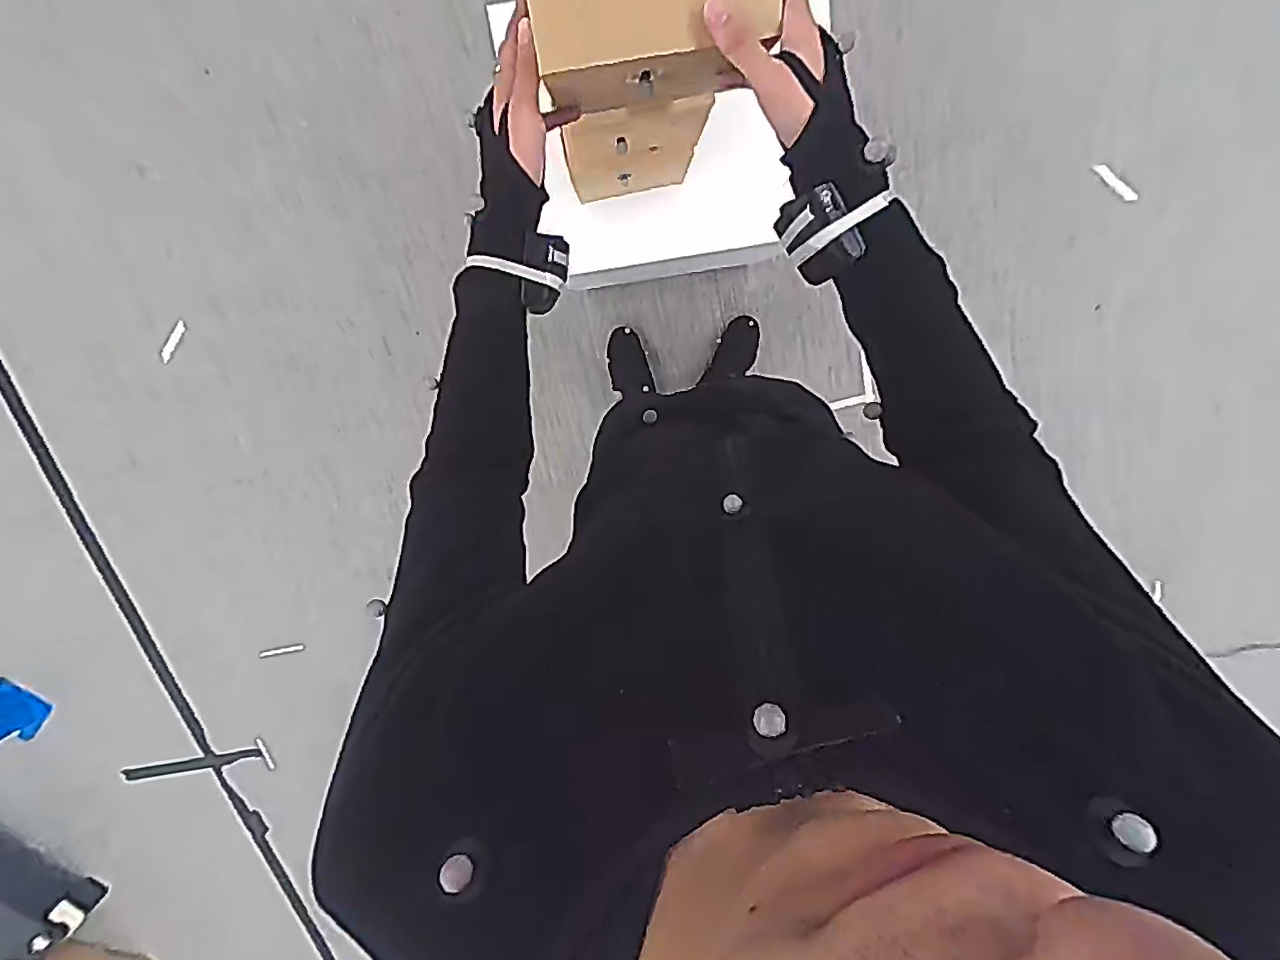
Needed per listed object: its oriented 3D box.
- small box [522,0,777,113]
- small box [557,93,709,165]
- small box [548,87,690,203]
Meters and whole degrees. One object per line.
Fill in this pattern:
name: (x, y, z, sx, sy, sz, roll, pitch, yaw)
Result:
small box: (-0.003, -0.407, 0.421, 0.179, 0.176, 0.168, -9, 115, 0)
small box: (-0.018, -0.493, 0.637, 0.168, 0.176, 0.179, -10, 106, 2)
small box: (-0.031, -0.525, 0.797, 0.179, 0.176, 0.168, -11, 107, 1)
